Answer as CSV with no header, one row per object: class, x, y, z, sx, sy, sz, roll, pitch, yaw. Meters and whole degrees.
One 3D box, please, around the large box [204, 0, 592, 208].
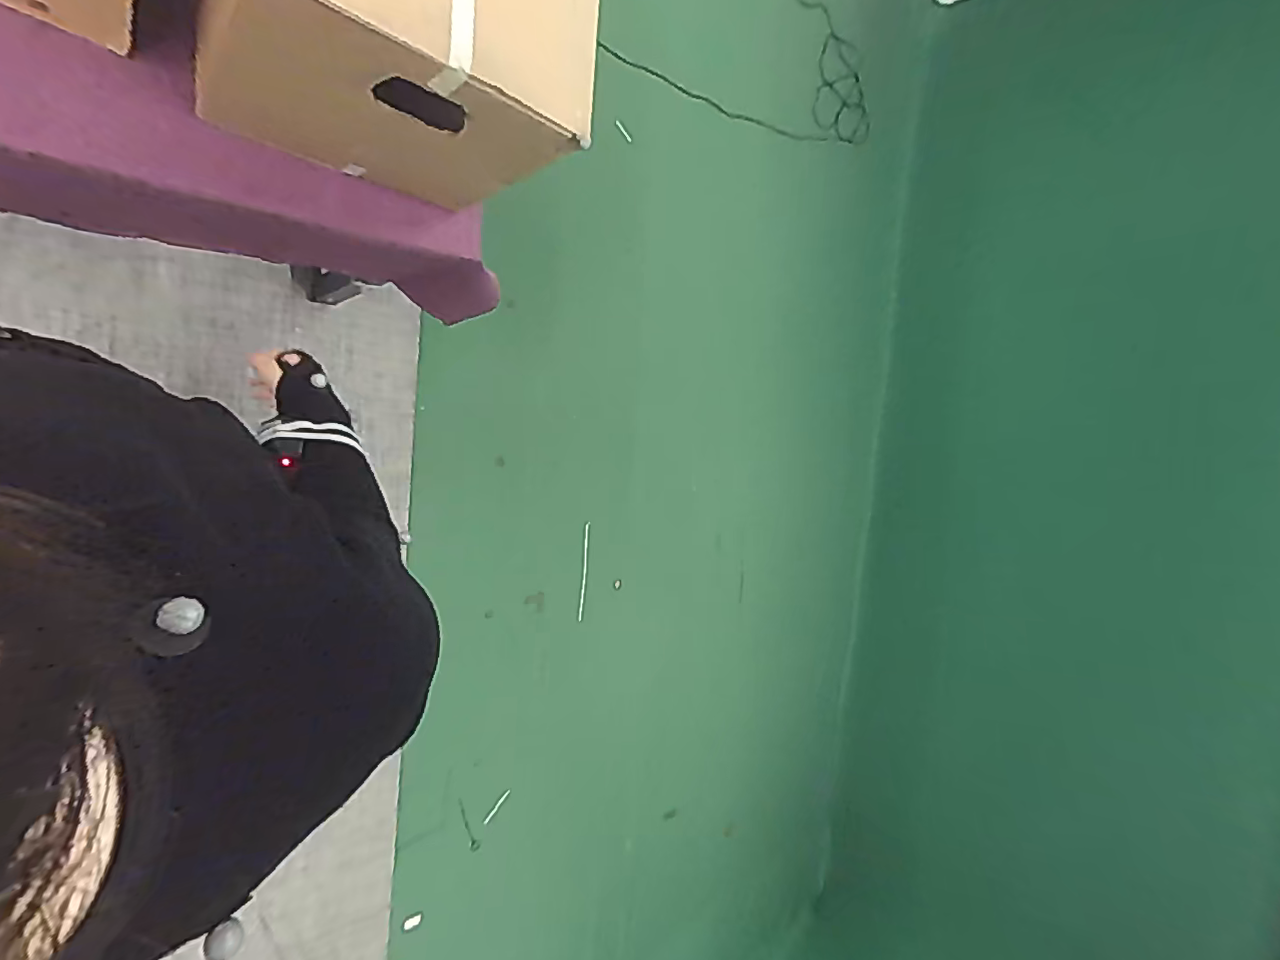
large box,-0.262,-0.585,0.591,0.320,0.320,0.408,-1,97,-45
